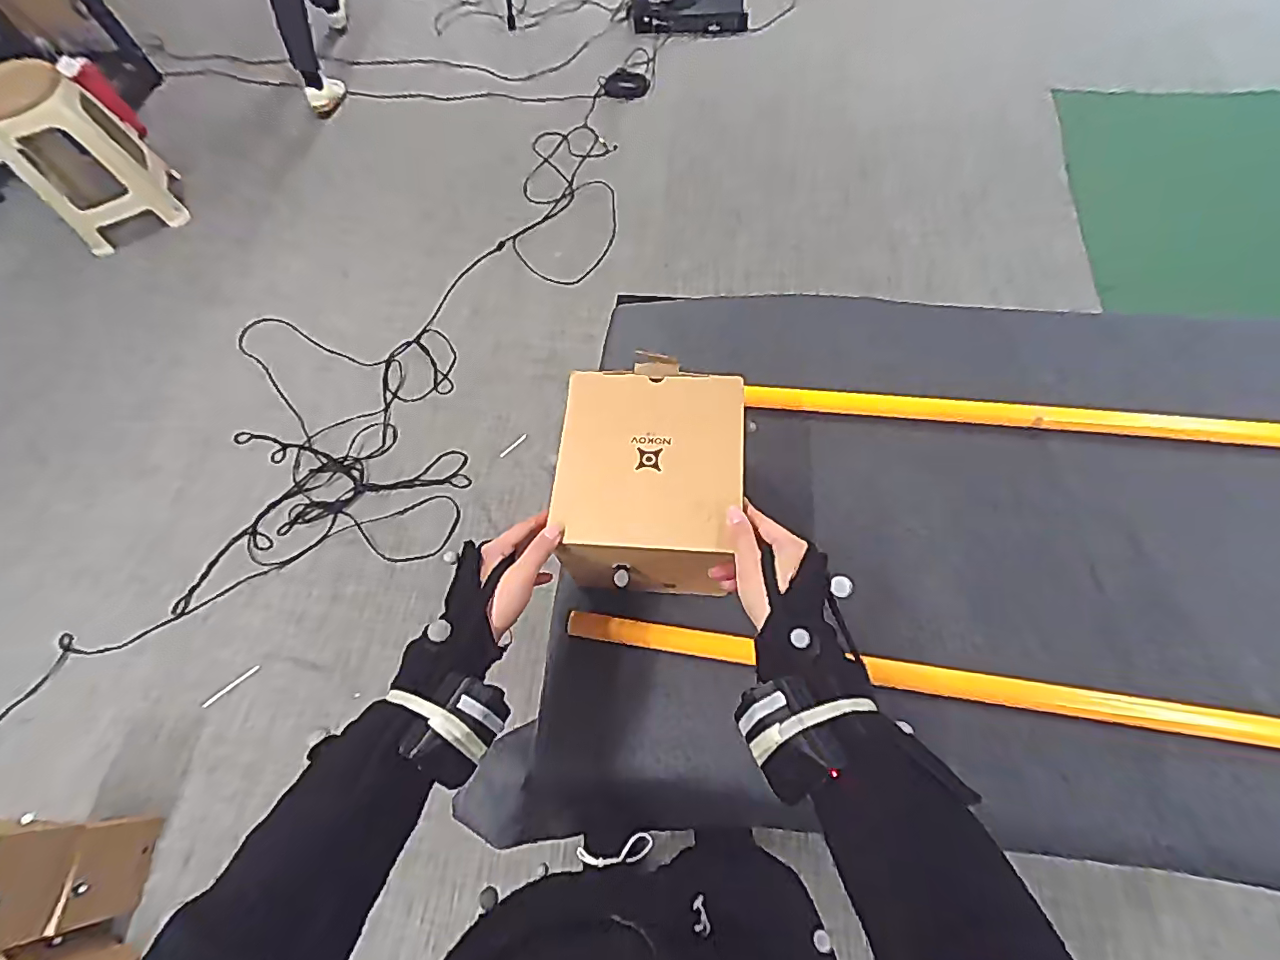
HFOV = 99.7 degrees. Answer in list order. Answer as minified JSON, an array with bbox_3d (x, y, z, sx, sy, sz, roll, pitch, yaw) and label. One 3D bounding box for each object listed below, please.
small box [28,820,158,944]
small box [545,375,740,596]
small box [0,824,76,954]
[{"bbox_3d":[-1.126,0.786,1.067,0.179,0.176,0.168,-7,67,2],"label":"small box"},{"bbox_3d":[0.013,0.014,0.551,0.168,0.176,0.179,2,64,5],"label":"small box"},{"bbox_3d":[-1.144,0.705,0.921,0.168,0.176,0.179,1,63,4],"label":"small box"}]
